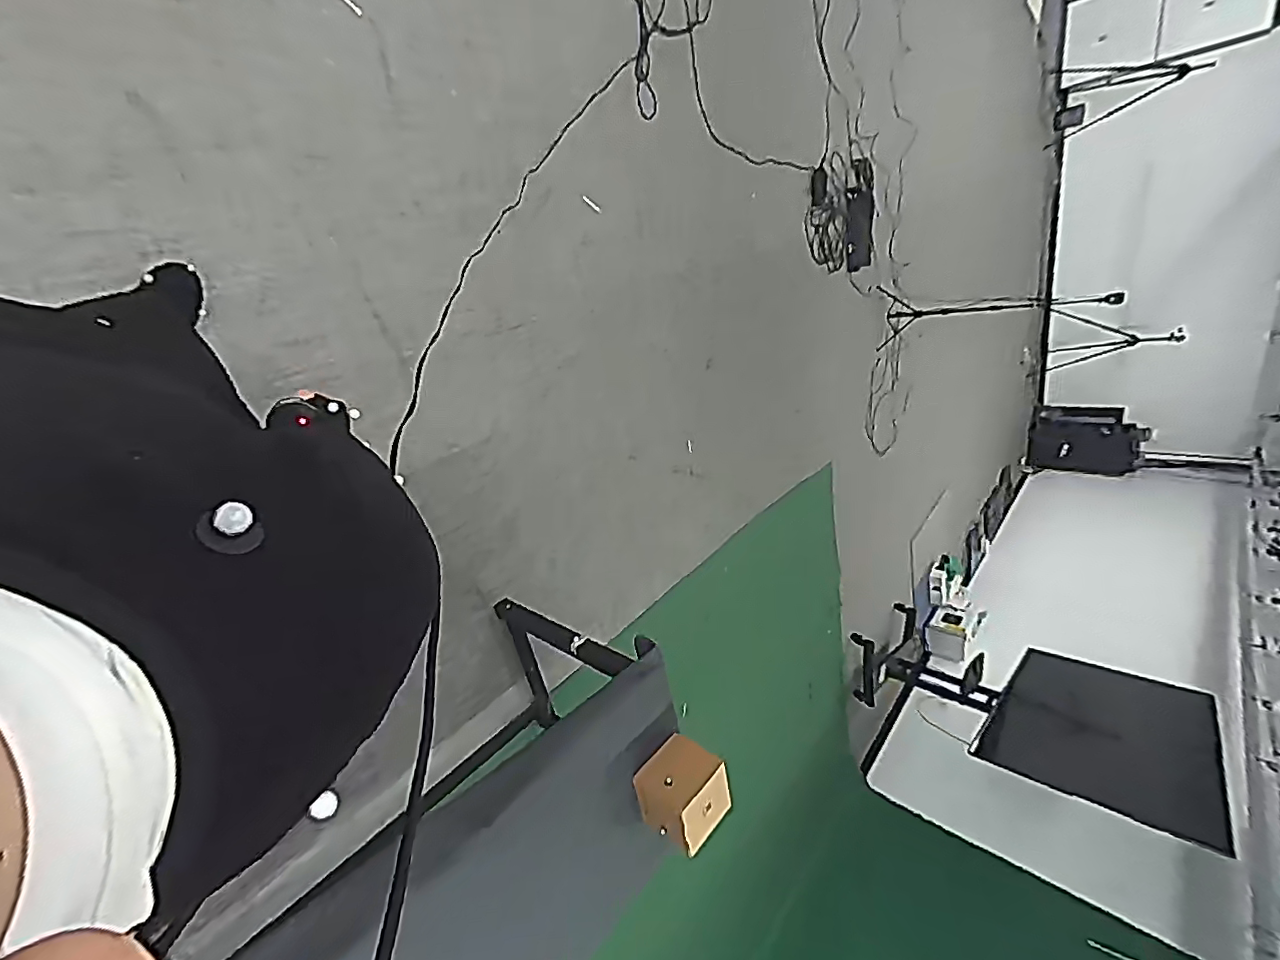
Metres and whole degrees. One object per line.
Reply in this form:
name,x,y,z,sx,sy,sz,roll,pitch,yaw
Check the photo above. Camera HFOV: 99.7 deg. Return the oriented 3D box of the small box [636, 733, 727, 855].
small box,0.102,0.805,1.405,0.179,0.176,0.168,-28,119,-40
